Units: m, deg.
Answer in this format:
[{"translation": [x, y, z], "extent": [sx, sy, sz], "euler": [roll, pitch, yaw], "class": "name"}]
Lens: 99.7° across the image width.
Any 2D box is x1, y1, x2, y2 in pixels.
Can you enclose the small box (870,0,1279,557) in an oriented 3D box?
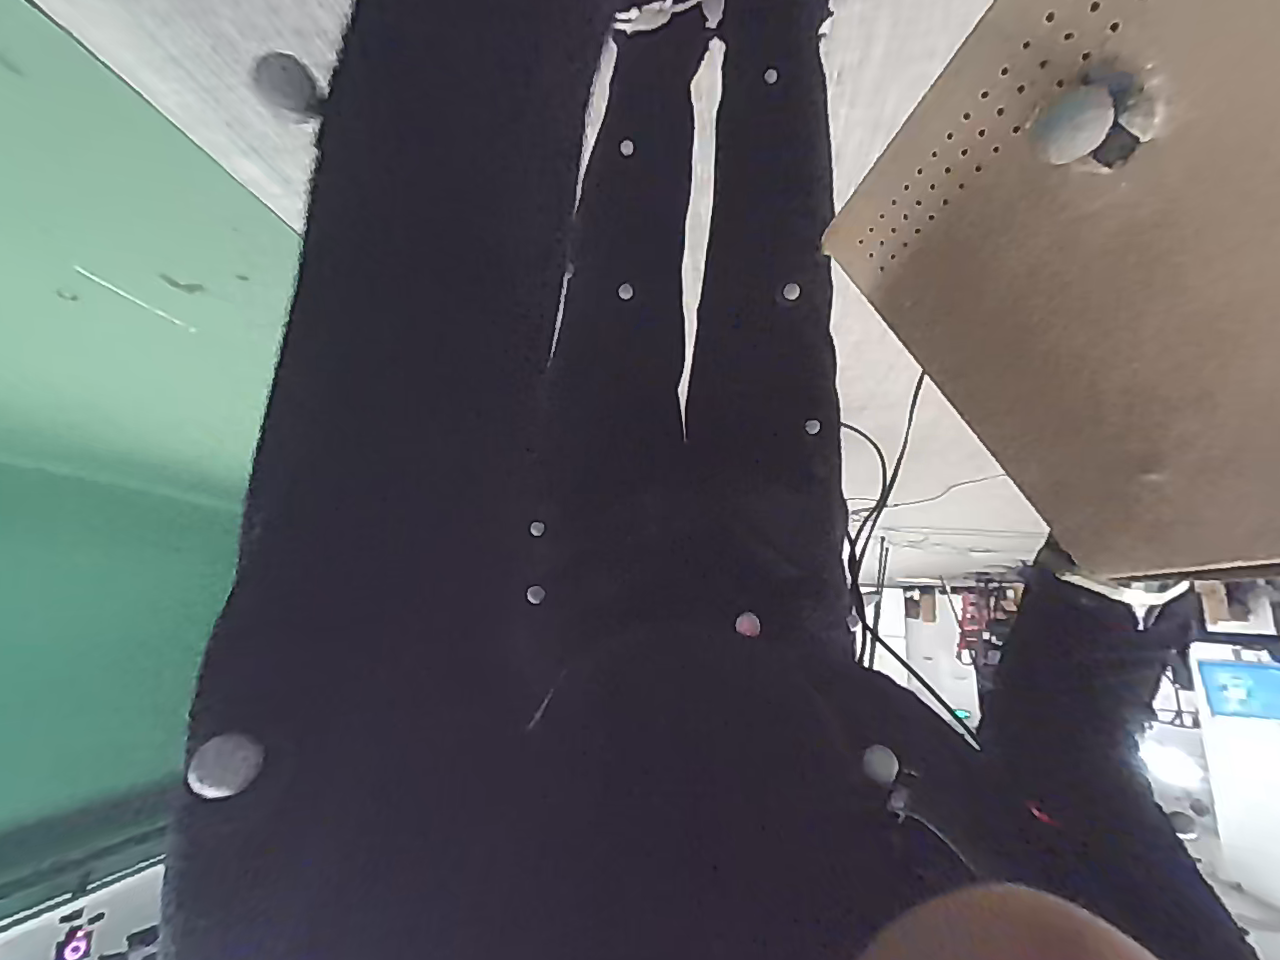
[{"translation": [0.198, -0.101, 0.147], "extent": [0.168, 0.176, 0.179], "euler": [-33, 174, -18], "class": "small box"}]
